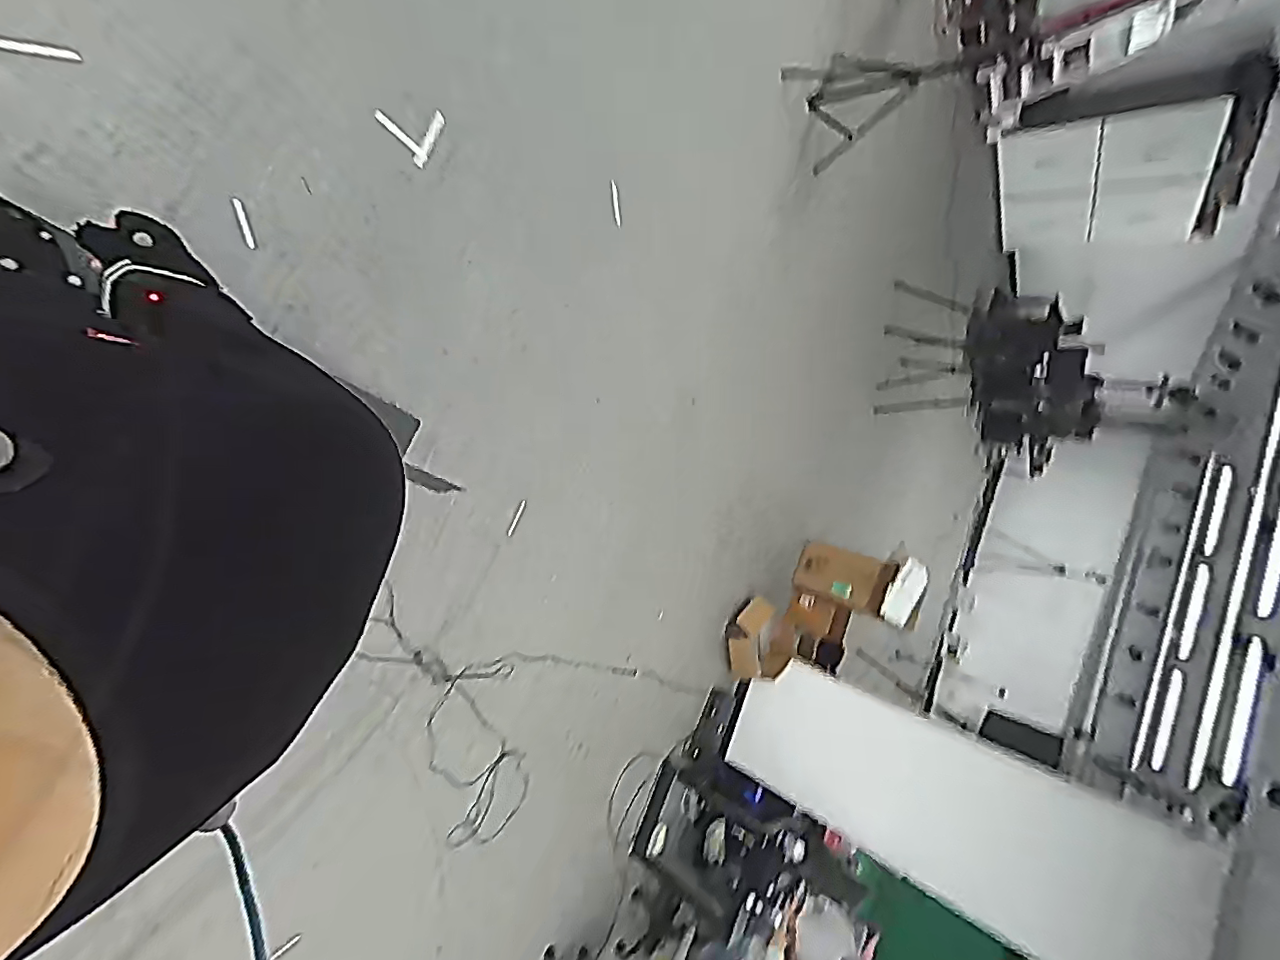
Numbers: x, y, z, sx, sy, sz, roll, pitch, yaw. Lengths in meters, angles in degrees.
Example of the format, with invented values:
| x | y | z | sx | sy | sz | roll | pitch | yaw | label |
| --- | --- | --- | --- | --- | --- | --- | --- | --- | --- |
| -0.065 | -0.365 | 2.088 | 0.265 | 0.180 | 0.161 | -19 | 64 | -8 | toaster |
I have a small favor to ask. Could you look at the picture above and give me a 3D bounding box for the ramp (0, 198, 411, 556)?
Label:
| x | y | z | sx | sy | sz | roll | pitch | yaw | label |
| --- | --- | --- | --- | --- | --- | --- | --- | --- | --- |
| -1.021 | -0.139 | 1.267 | 0.991 | 0.206 | 0.509 | 30 | 78 | -50 | ramp |
